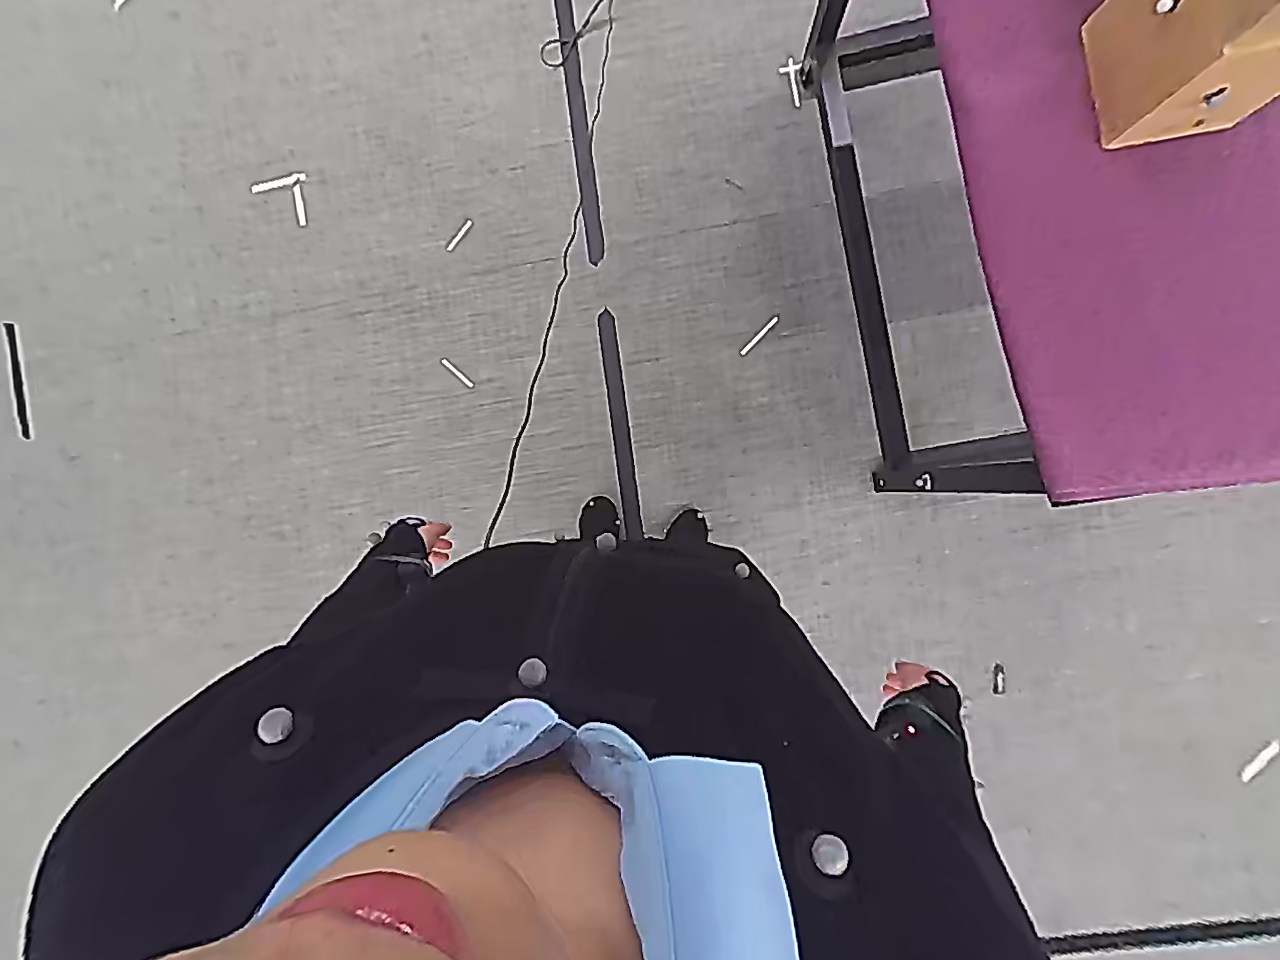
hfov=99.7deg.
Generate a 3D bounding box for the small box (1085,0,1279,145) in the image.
[{"bbox_3d":[0.687,-0.536,0.648,0.168,0.176,0.179,-8,88,4],"label":"small box"}]

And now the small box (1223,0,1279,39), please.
[{"bbox_3d":[0.681,-0.546,0.484,0.179,0.176,0.168,-8,88,4],"label":"small box"}]
